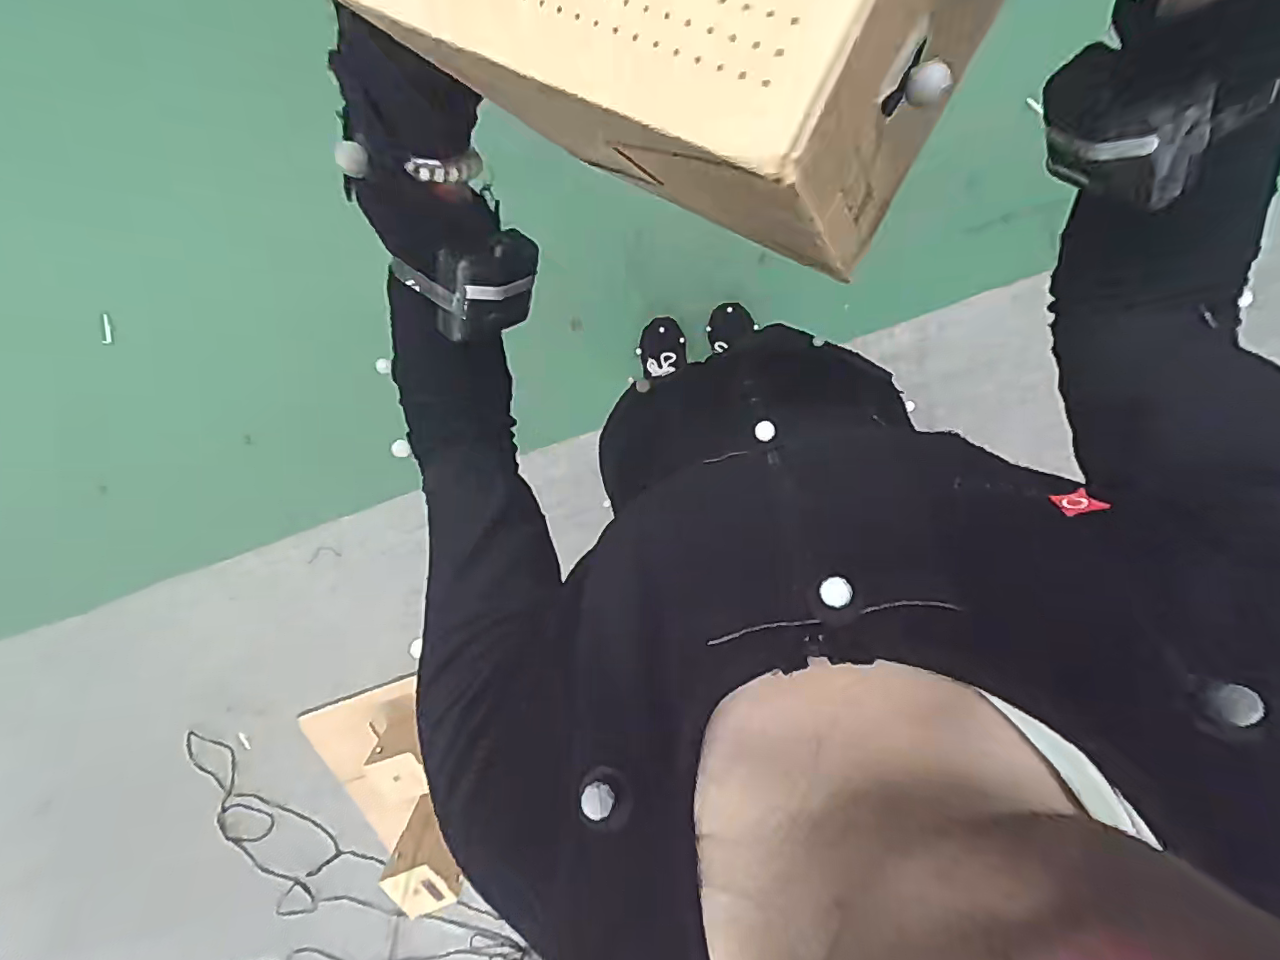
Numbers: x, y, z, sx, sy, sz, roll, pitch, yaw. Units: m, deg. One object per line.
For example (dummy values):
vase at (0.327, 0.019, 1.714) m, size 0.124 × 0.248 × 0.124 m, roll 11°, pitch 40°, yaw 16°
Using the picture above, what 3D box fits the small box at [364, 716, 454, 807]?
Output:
small box at (-0.724, 0.887, 1.716) m, size 0.179 × 0.176 × 0.168 m, roll -22°, pitch 106°, yaw 8°
